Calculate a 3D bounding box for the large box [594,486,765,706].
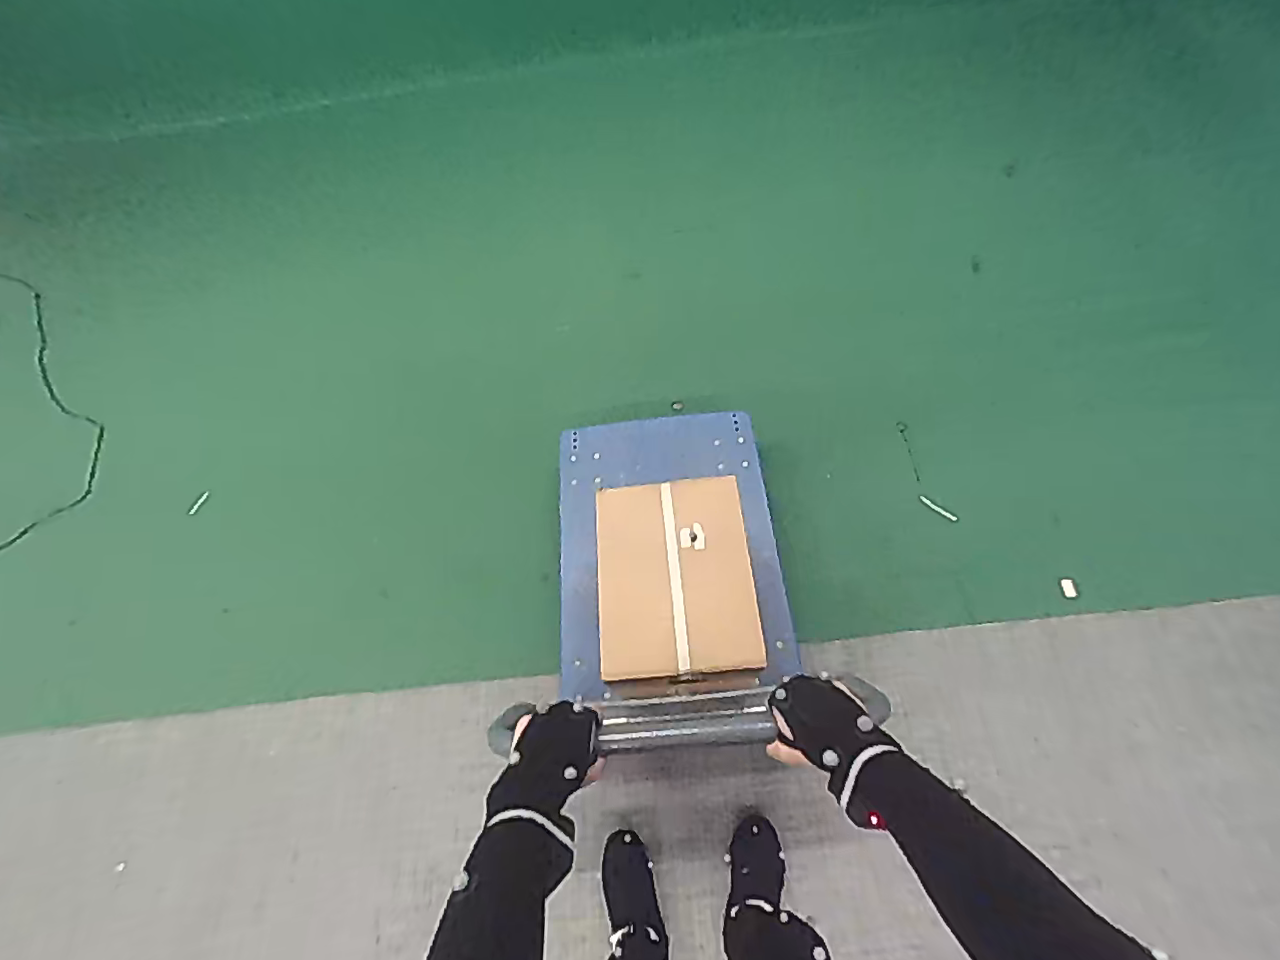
[{"bbox_3d":[0.081,0.273,1.232,0.320,0.320,0.408,-6,62,2],"label":"large box"}]
